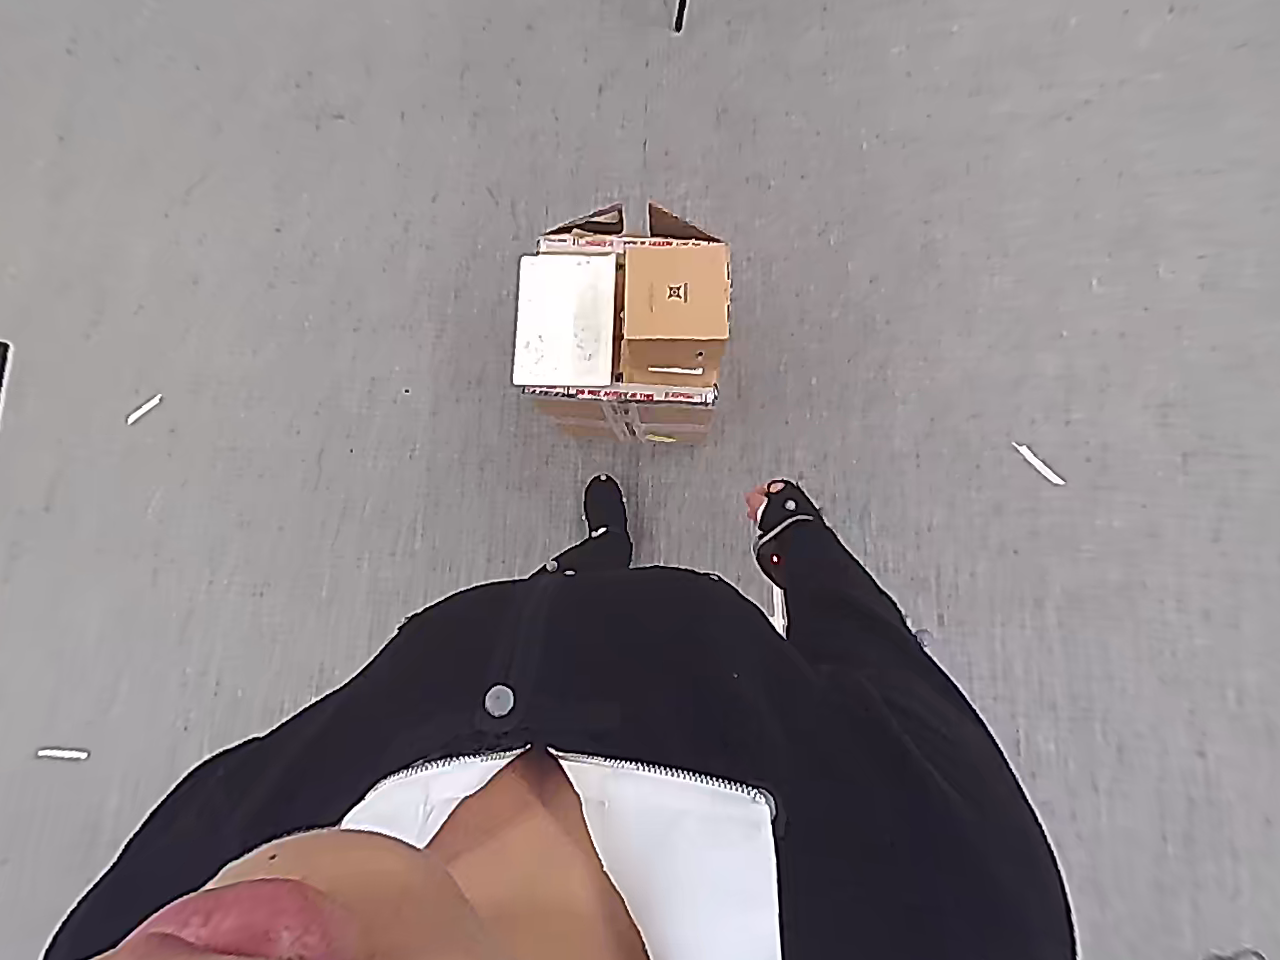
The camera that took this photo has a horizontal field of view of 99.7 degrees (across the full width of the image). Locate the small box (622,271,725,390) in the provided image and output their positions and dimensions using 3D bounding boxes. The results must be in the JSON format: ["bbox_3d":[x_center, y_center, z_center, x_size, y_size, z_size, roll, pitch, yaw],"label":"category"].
[{"bbox_3d":[0.059,-0.269,0.999,0.179,0.176,0.168,0,84,3],"label":"small box"}]
